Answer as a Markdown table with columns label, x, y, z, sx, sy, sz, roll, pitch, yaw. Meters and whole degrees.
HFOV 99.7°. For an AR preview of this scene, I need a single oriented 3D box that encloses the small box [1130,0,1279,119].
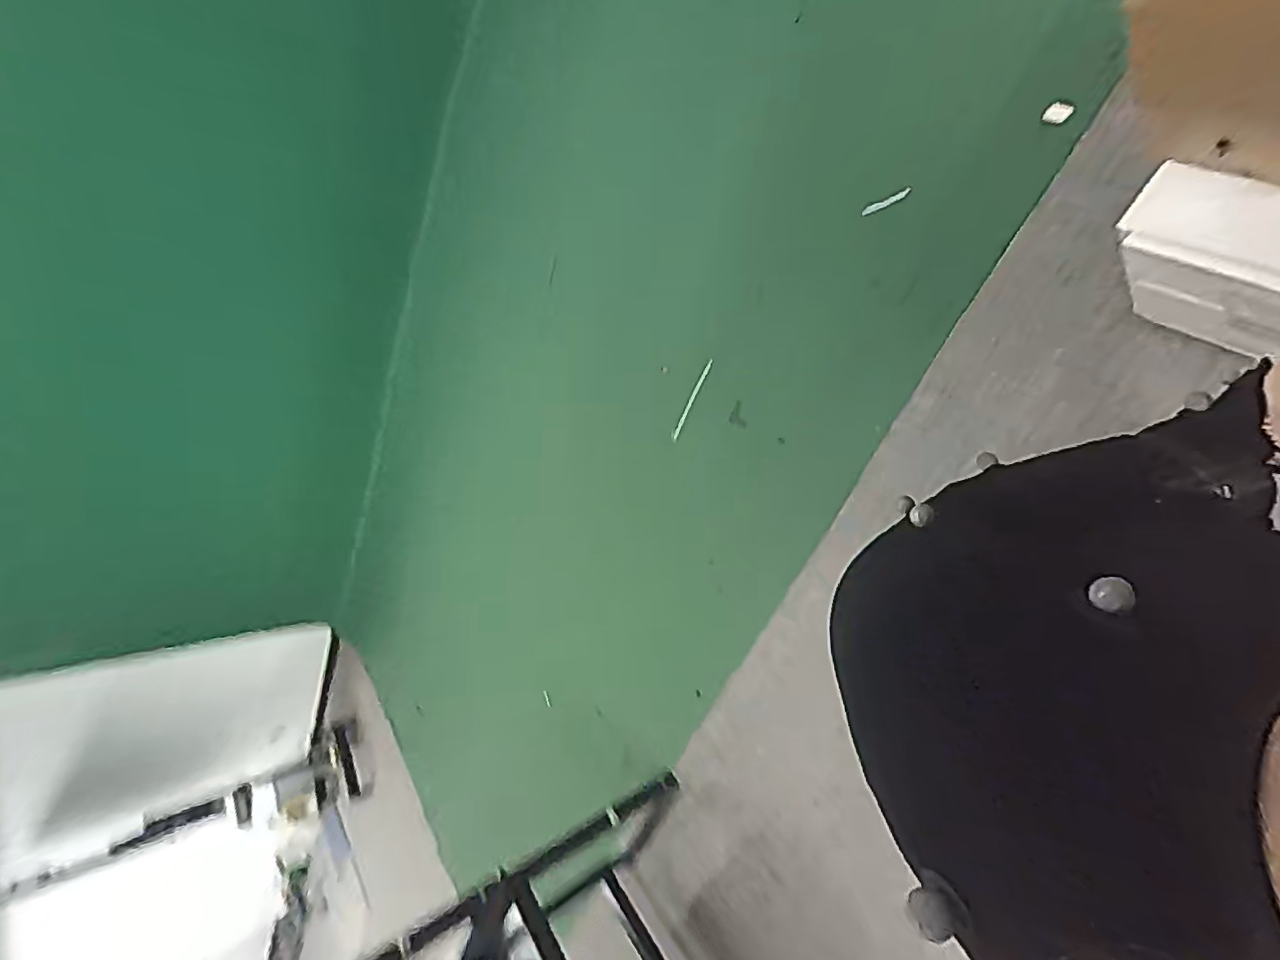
| label | x | y | z | sx | sy | sz | roll | pitch | yaw |
| --- | --- | --- | --- | --- | --- | --- | --- | --- | --- |
| small box | 0.533 | -0.407 | 0.412 | 0.179 | 0.176 | 0.168 | 44 | 119 | 34 |

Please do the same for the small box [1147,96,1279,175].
| label | x | y | z | sx | sy | sz | roll | pitch | yaw |
| --- | --- | --- | --- | --- | --- | --- | --- | --- | --- |
| small box | 0.650 | -0.425 | 0.523 | 0.168 | 0.176 | 0.179 | 44 | 120 | 32 |
